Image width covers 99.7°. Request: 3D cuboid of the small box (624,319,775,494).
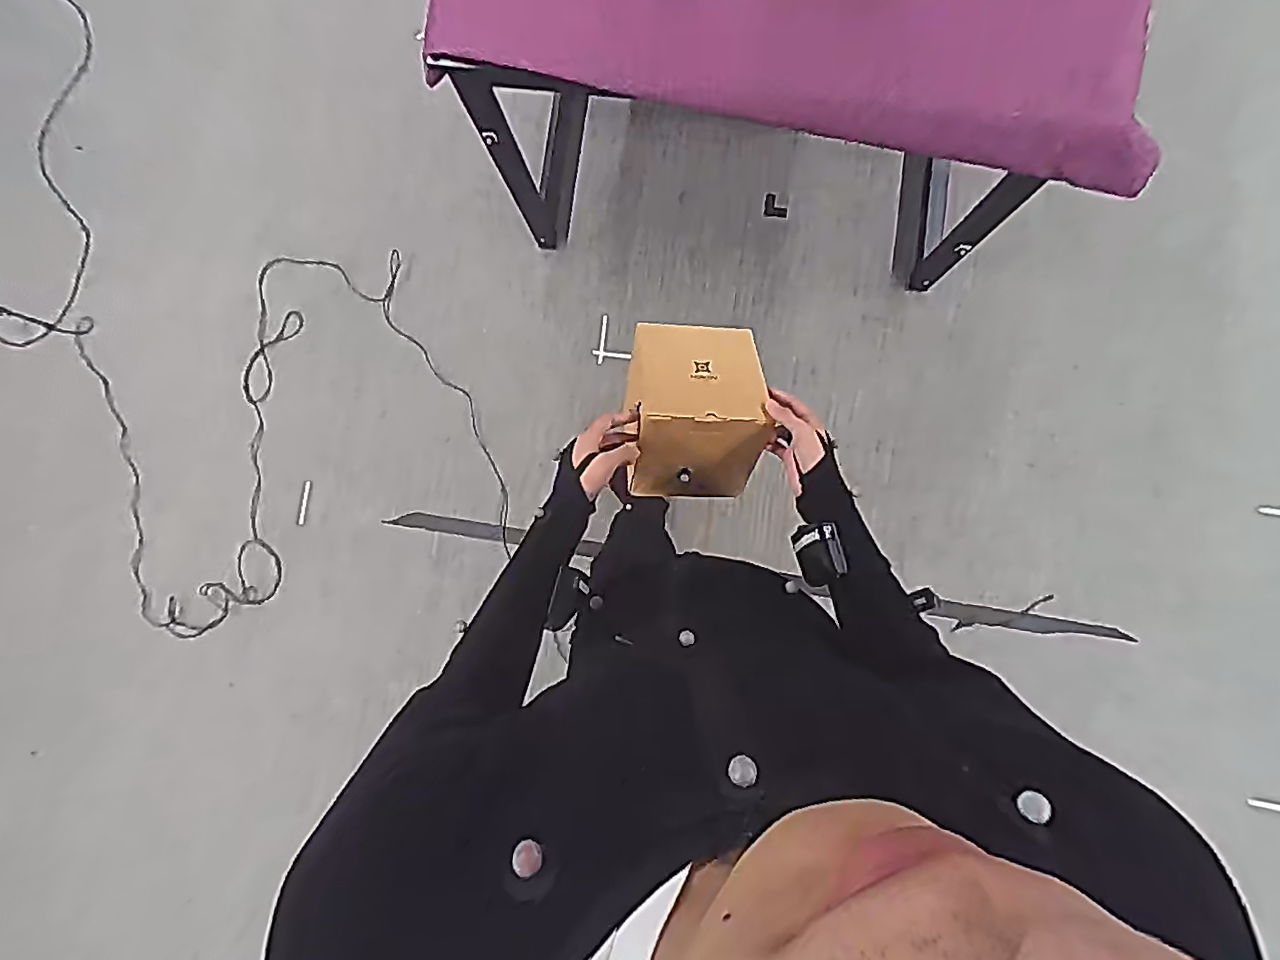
[{"bbox_3d":[0.070,-0.099,0.761,0.168,0.176,0.179,1,55,-8],"label":"small box"}]
